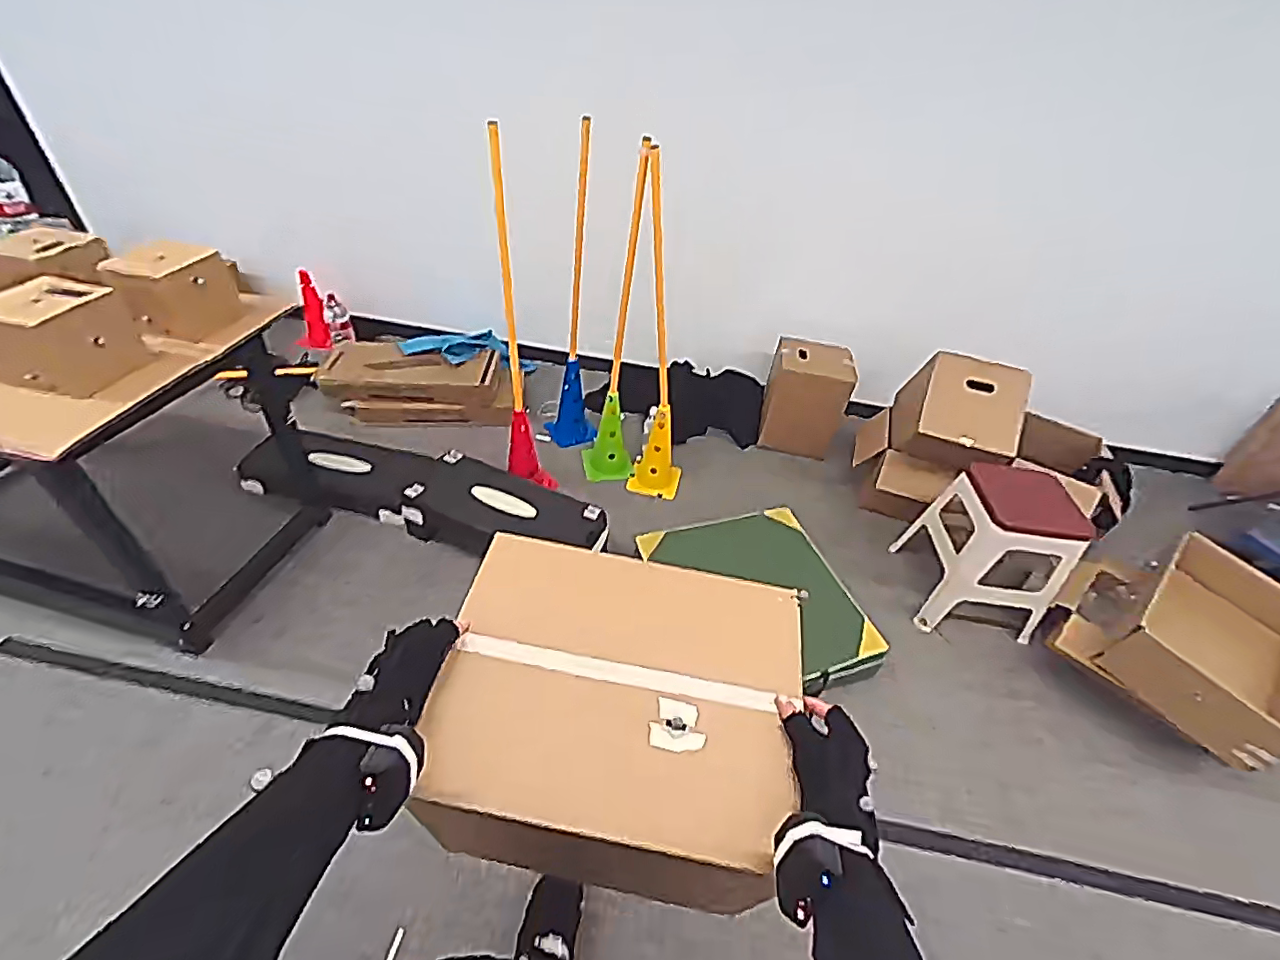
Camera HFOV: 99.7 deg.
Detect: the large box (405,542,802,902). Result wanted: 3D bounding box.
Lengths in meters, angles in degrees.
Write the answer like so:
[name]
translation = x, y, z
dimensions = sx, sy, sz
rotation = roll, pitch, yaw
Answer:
[large box]
translation = -0.033, 0.326, 0.732
dimensions = 0.408, 0.320, 0.320
rotation = 11, 47, 2
